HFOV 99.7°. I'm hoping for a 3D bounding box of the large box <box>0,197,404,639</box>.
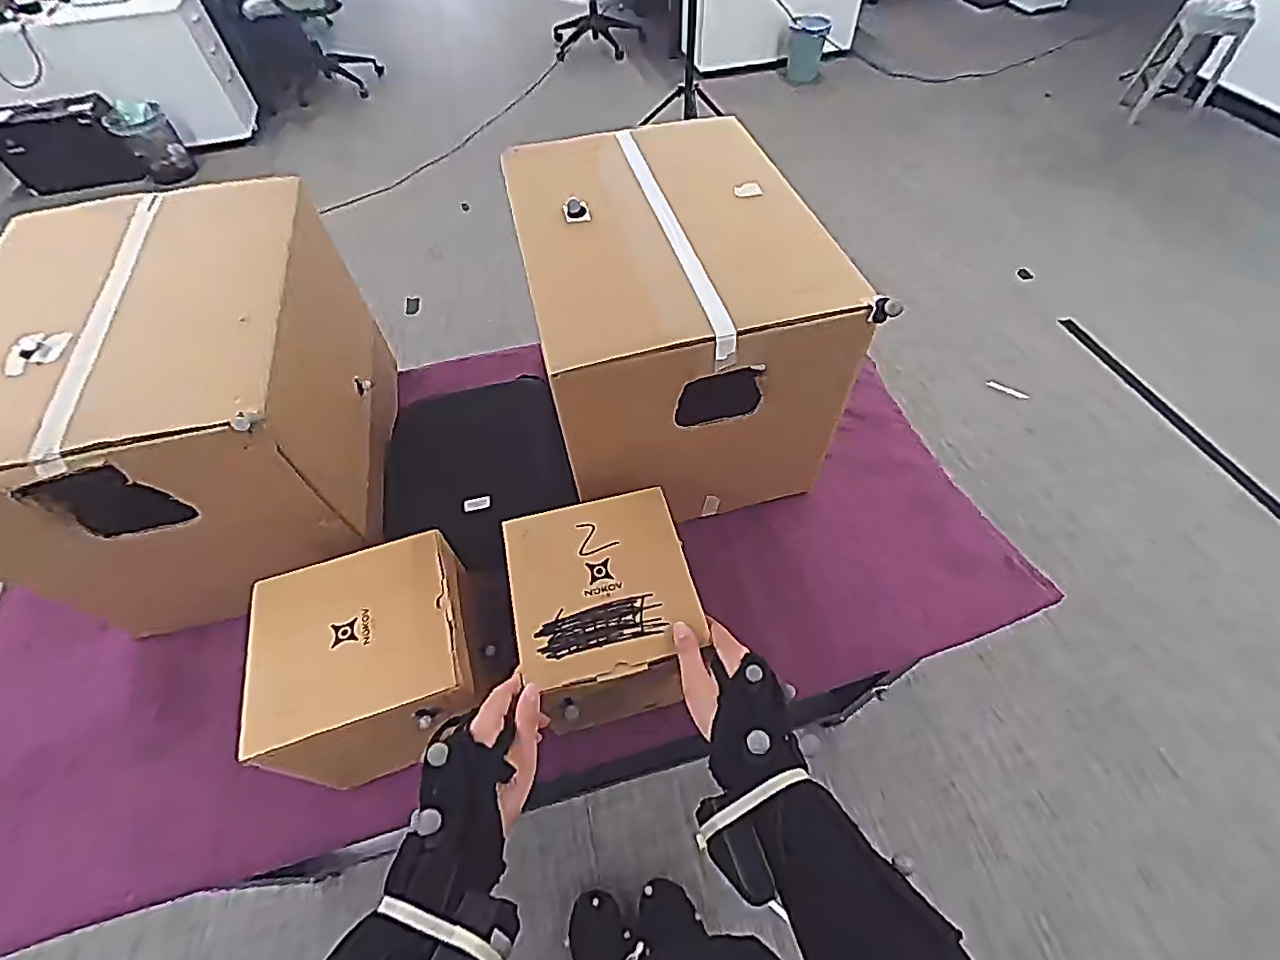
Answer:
[{"bbox_3d":[-0.508,-0.075,0.665,0.320,0.320,0.408,-14,58,-7],"label":"large box"}]
